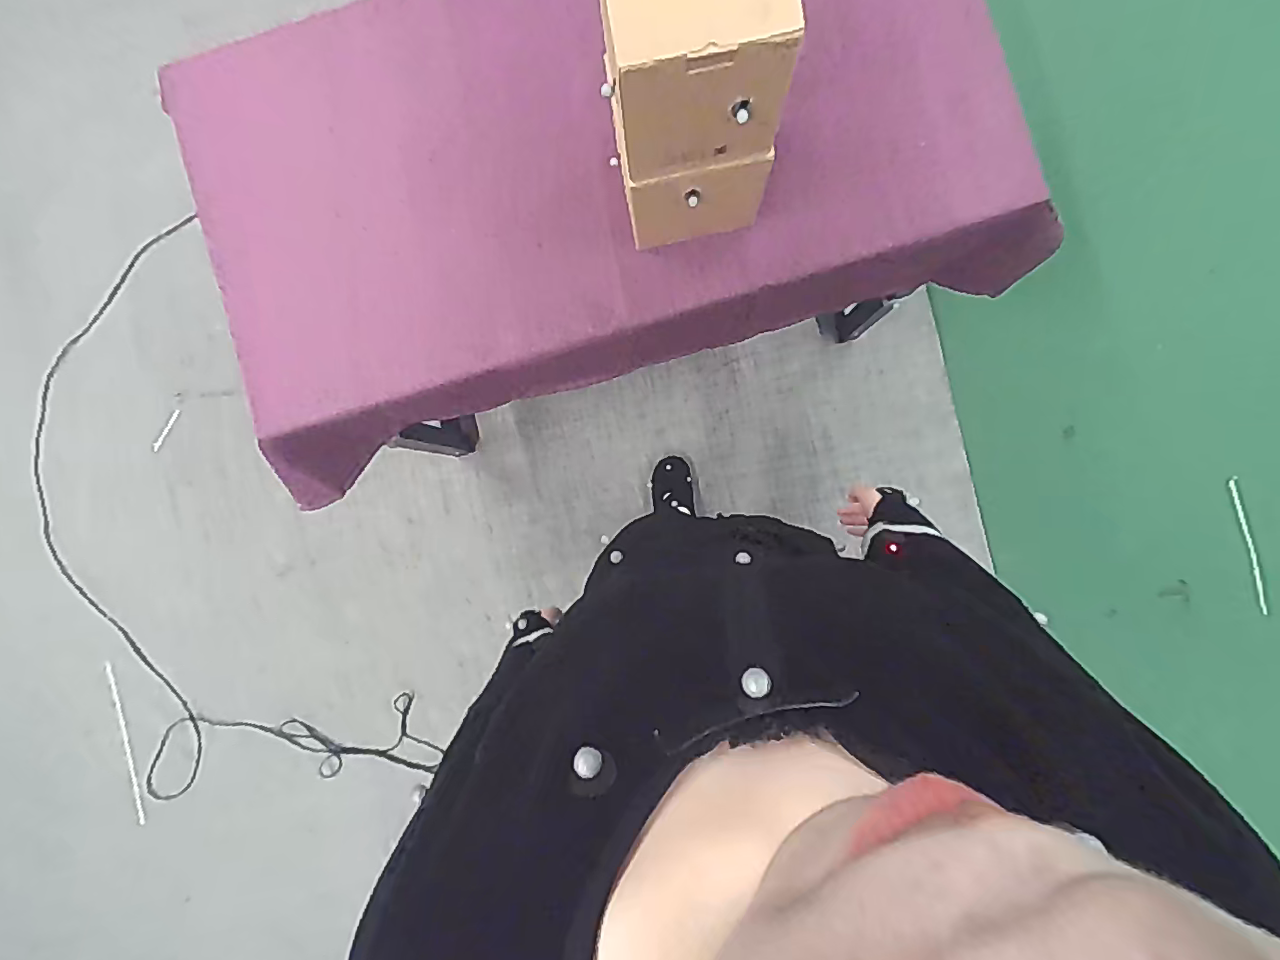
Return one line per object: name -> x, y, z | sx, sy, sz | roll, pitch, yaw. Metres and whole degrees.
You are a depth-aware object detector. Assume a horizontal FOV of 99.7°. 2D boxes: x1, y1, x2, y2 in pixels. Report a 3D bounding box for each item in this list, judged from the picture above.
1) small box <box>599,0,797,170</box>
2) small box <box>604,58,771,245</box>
small box -> 0.049, -0.447, 0.550 | 0.168, 0.176, 0.179 | -10, 87, 3
small box -> 0.061, -0.434, 0.712 | 0.179, 0.176, 0.168 | -10, 88, 4
